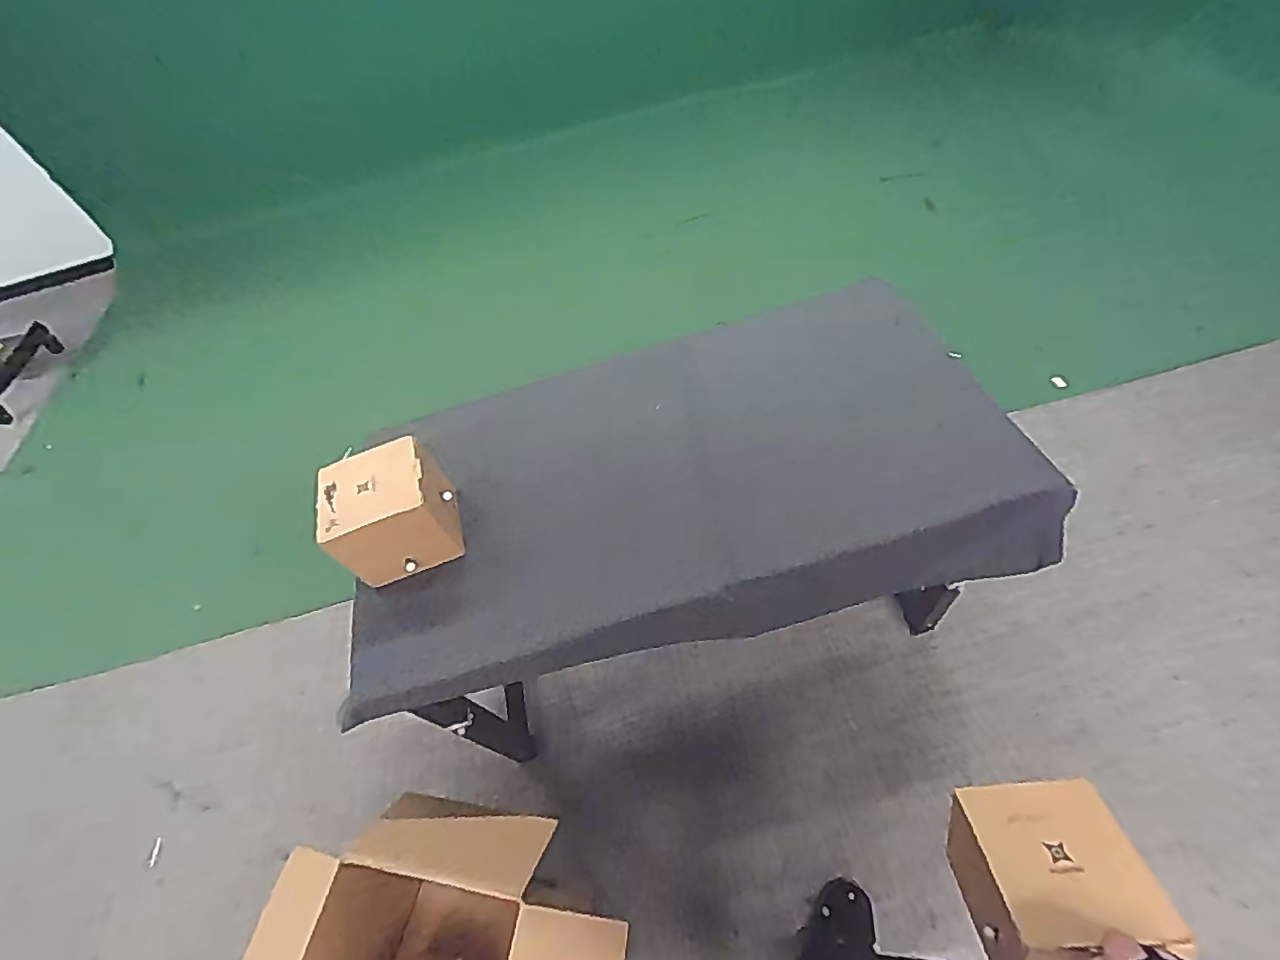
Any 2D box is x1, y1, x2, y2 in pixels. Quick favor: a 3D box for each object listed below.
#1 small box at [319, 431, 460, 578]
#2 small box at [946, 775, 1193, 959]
[{"bbox_3d":[-0.434,0.047,0.960,0.179,0.176,0.168,-20,53,-5],"label":"small box"},{"bbox_3d":[0.502,0.501,0.666,0.168,0.176,0.179,-8,28,7],"label":"small box"}]
